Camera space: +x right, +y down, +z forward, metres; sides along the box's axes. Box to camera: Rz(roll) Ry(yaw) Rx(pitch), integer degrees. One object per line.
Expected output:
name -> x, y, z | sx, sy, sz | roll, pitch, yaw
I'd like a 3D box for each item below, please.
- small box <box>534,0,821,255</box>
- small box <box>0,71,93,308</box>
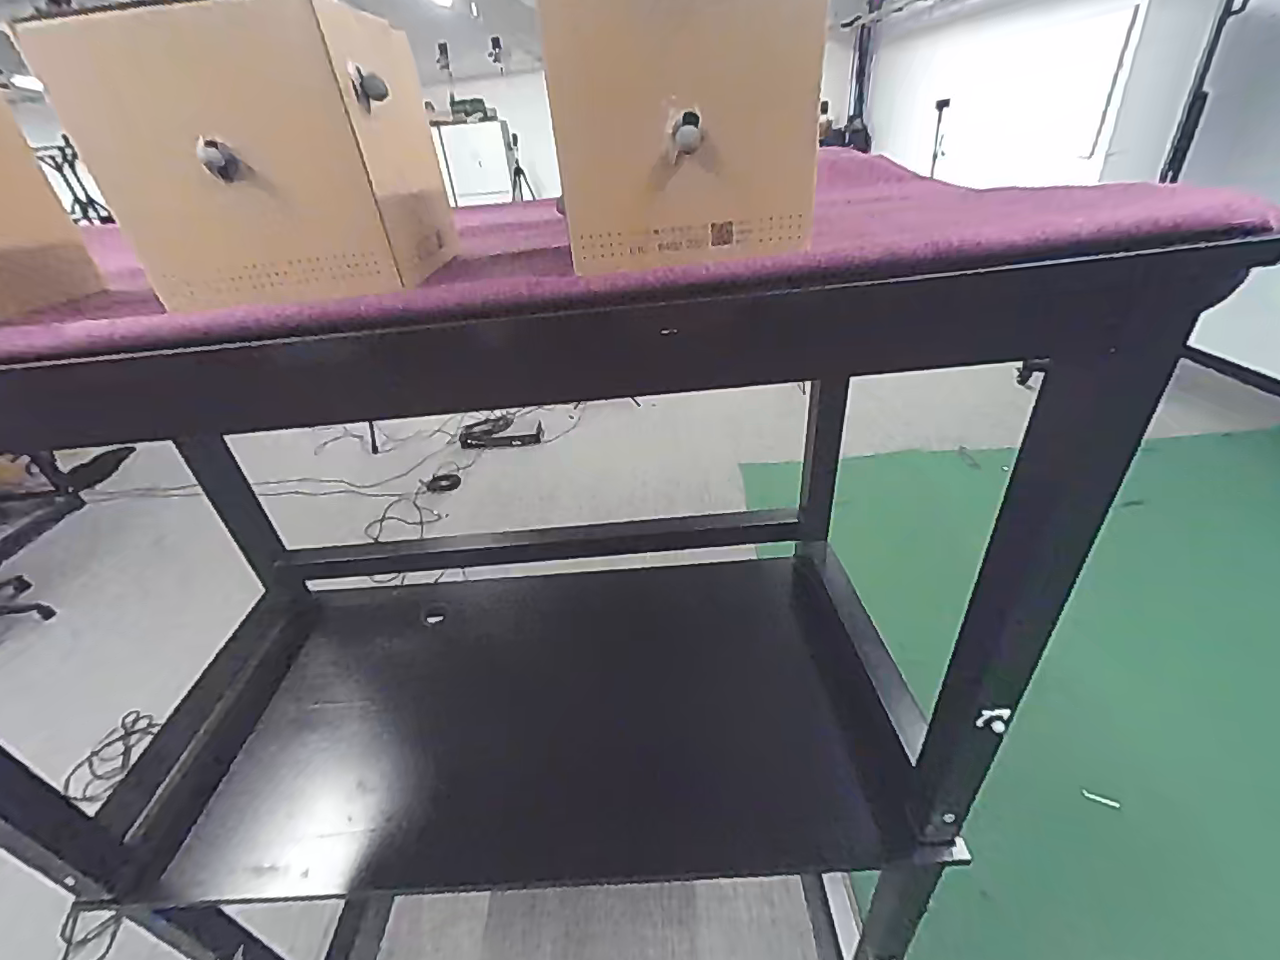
small box -> 0.029, -0.271, 0.399 | 0.168, 0.176, 0.179 | -4, 34, 3
small box -> -0.585, -0.212, 0.405 | 0.168, 0.176, 0.179 | -6, 32, -2
